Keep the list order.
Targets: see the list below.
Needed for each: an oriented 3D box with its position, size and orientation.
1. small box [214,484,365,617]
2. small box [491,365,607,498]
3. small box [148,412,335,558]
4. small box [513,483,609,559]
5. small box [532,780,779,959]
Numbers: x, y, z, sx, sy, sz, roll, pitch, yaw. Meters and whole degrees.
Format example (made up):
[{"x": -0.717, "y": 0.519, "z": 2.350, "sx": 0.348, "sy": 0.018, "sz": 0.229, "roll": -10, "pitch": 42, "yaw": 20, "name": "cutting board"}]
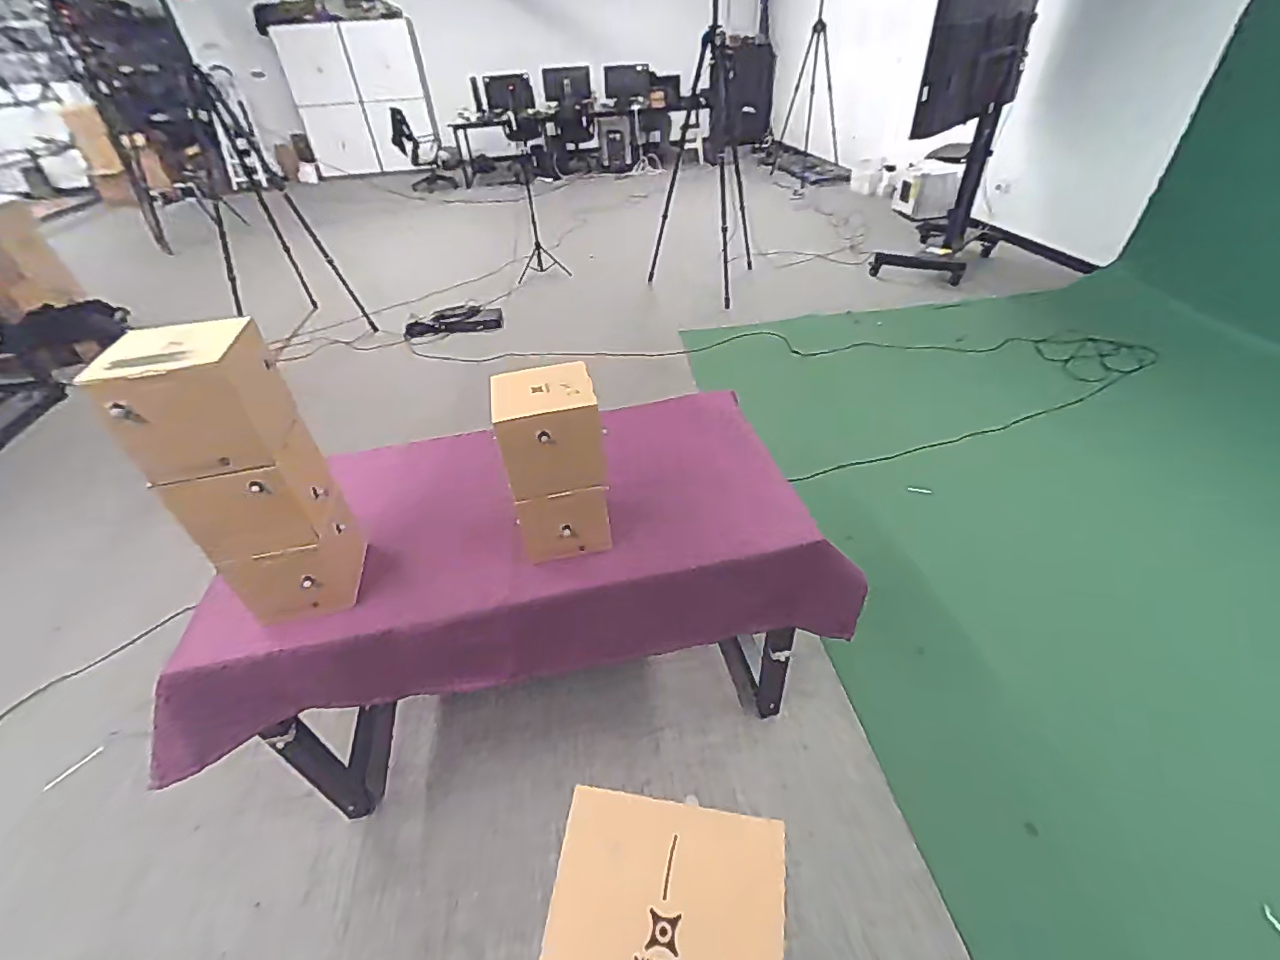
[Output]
[{"x": -0.633, "y": 0.135, "z": 1.006, "sx": 0.168, "sy": 0.176, "sz": 0.179, "roll": -10, "pitch": 39, "yaw": -9, "name": "small box"}, {"x": -0.164, "y": -0.086, "z": 0.979, "sx": 0.179, "sy": 0.176, "sz": 0.168, "roll": -10, "pitch": 40, "yaw": -8, "name": "small box"}, {"x": -0.645, "y": 0.010, "z": 0.904, "sx": 0.179, "sy": 0.176, "sz": 0.168, "roll": -11, "pitch": 40, "yaw": -11, "name": "small box"}, {"x": -0.159, "y": 0.042, "z": 1.085, "sx": 0.168, "sy": 0.176, "sz": 0.179, "roll": -9, "pitch": 40, "yaw": -8, "name": "small box"}, {"x": 0.018, "y": 0.366, "z": 0.436, "sx": 0.168, "sy": 0.176, "sz": 0.179, "roll": 5, "pitch": 54, "yaw": 10, "name": "small box"}]
